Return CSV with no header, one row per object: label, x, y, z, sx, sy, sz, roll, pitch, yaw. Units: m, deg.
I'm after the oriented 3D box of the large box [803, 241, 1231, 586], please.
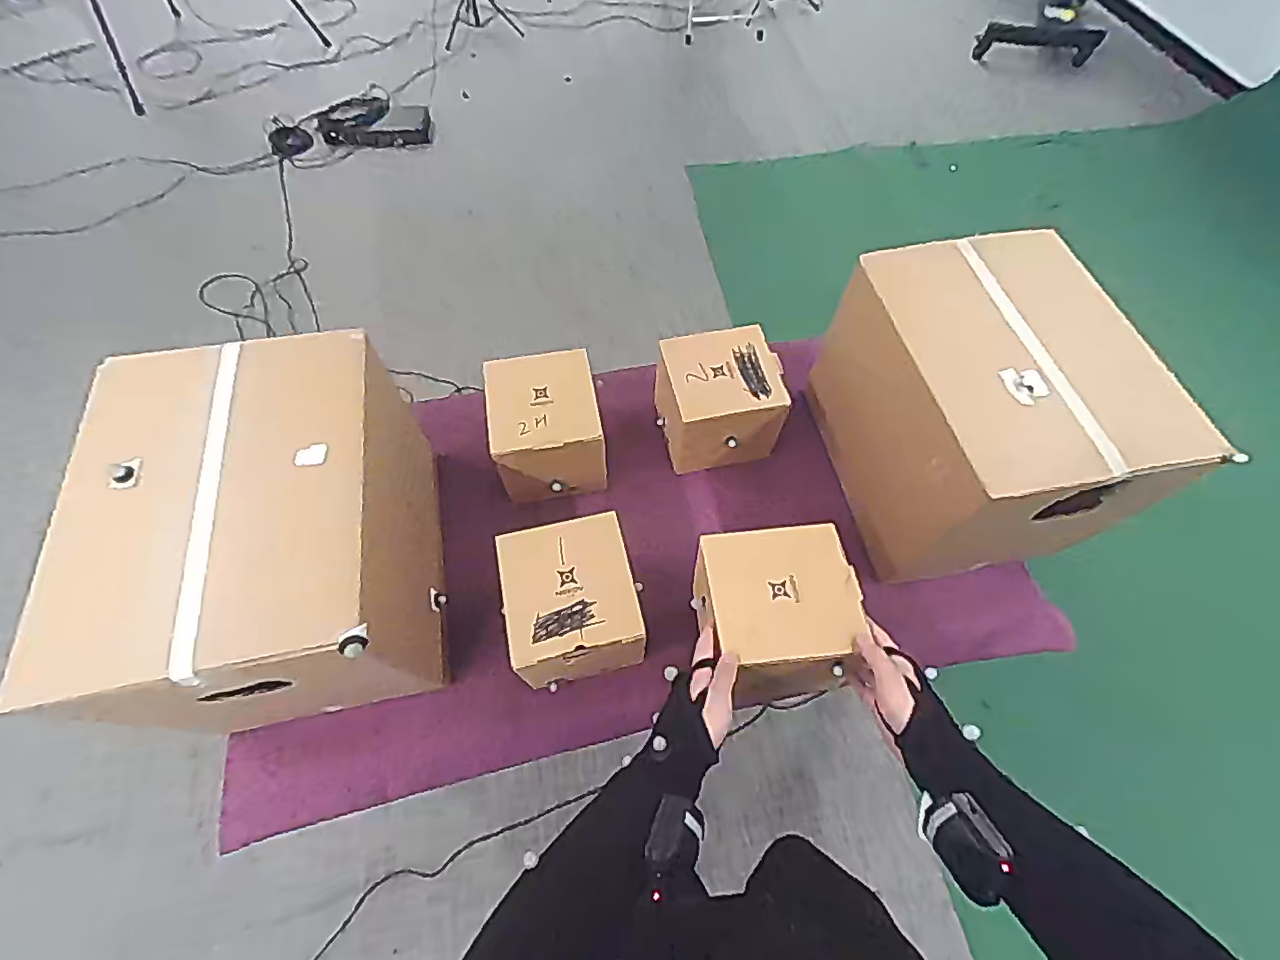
large box,0.497,-0.093,0.830,0.320,0.320,0.408,-9,63,-5
